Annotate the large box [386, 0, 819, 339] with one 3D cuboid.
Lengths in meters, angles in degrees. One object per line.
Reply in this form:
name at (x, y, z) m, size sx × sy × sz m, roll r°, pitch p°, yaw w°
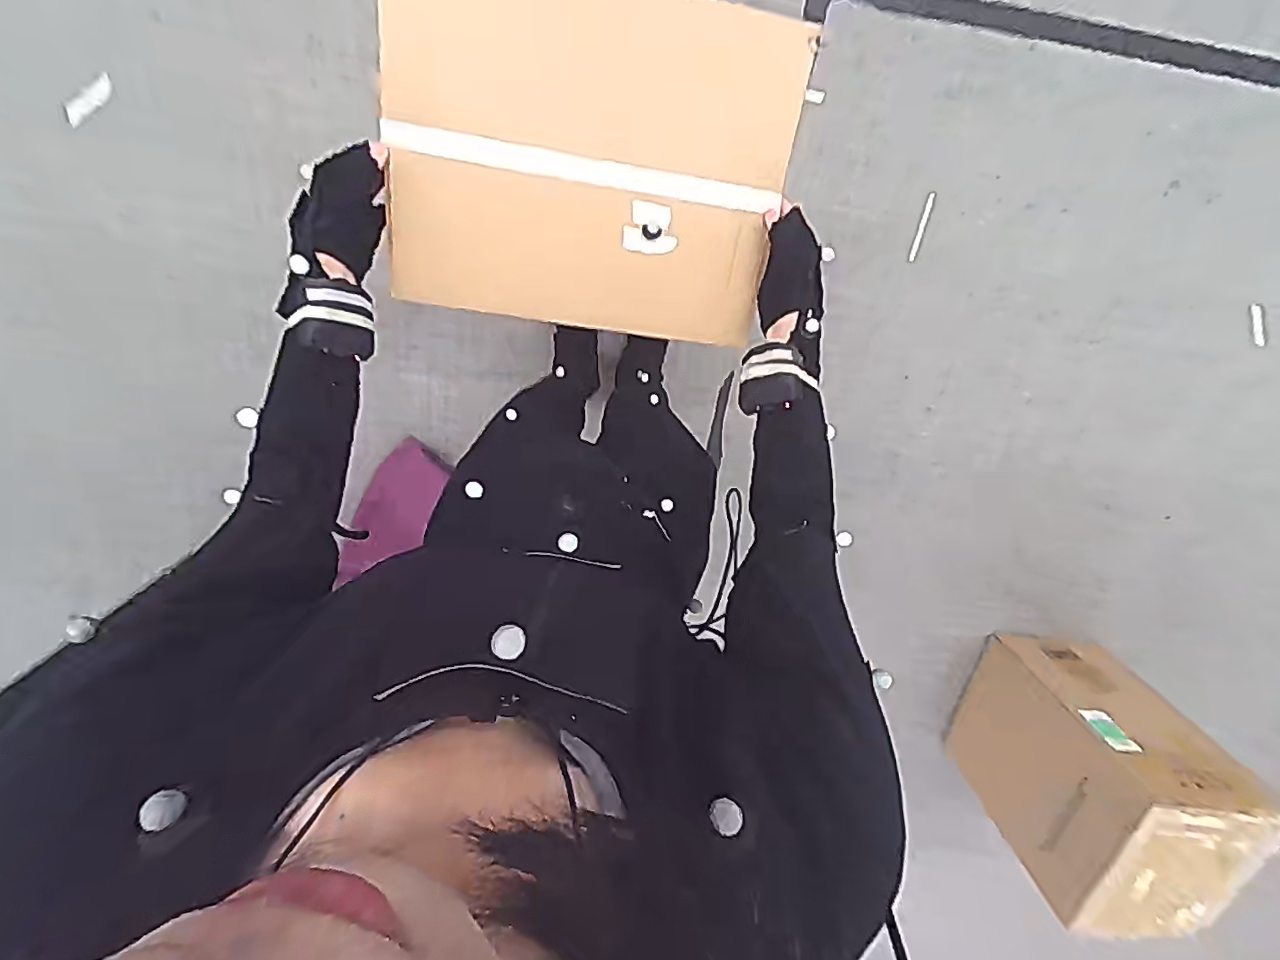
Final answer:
large box at (-0.061, -0.379, 0.679) m, size 0.408 × 0.320 × 0.320 m, roll 5°, pitch 115°, yaw -10°
